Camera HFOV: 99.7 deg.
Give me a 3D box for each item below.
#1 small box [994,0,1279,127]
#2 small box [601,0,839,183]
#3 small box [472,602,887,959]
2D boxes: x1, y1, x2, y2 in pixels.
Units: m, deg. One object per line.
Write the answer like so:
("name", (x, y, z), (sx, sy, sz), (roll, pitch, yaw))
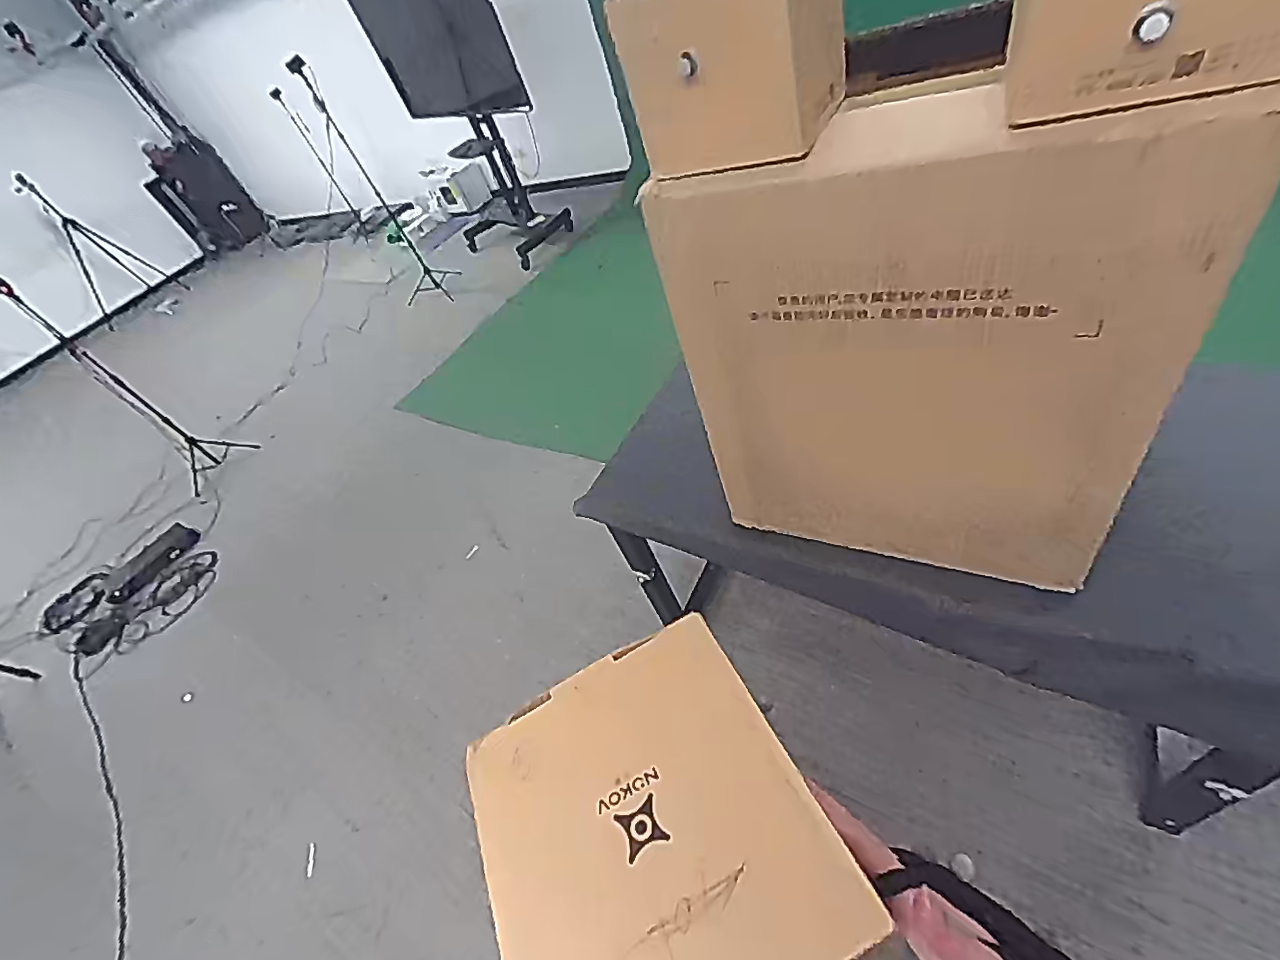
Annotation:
("small box", (0.374, -0.396, 0.403), (0.168, 0.176, 0.179), (6, 52, 27))
("small box", (0.095, -0.438, 0.567), (0.179, 0.176, 0.168), (9, 54, 33))
("small box", (0.023, 0.217, 0.335), (0.168, 0.176, 0.179), (-29, 45, -6))
